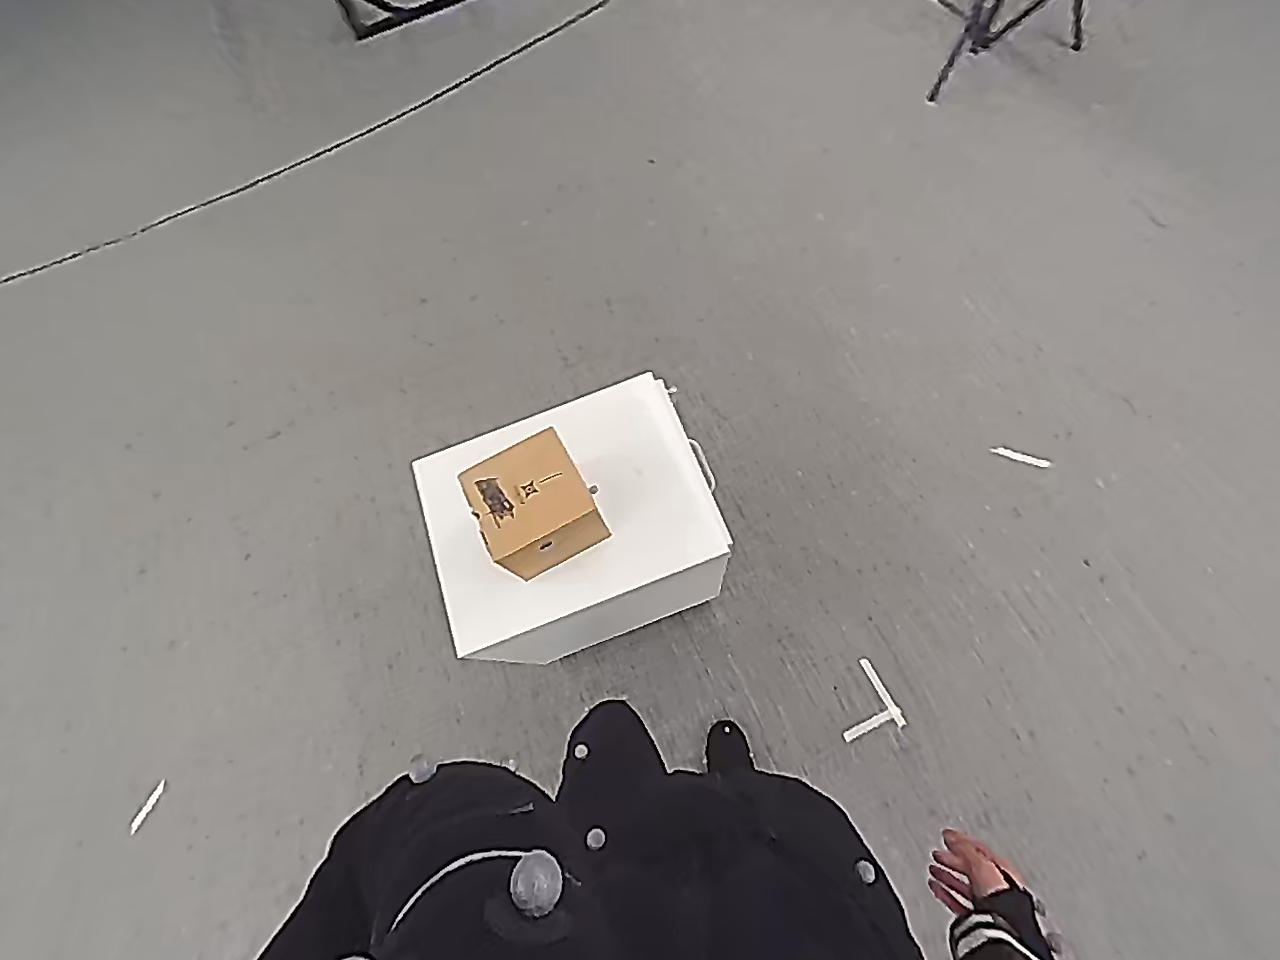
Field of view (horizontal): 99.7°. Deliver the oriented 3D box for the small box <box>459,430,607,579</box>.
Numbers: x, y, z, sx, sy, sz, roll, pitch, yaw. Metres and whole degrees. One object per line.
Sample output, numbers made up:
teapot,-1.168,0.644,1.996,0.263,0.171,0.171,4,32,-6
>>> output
small box,-0.173,0.050,0.924,0.179,0.176,0.168,-27,69,-5
